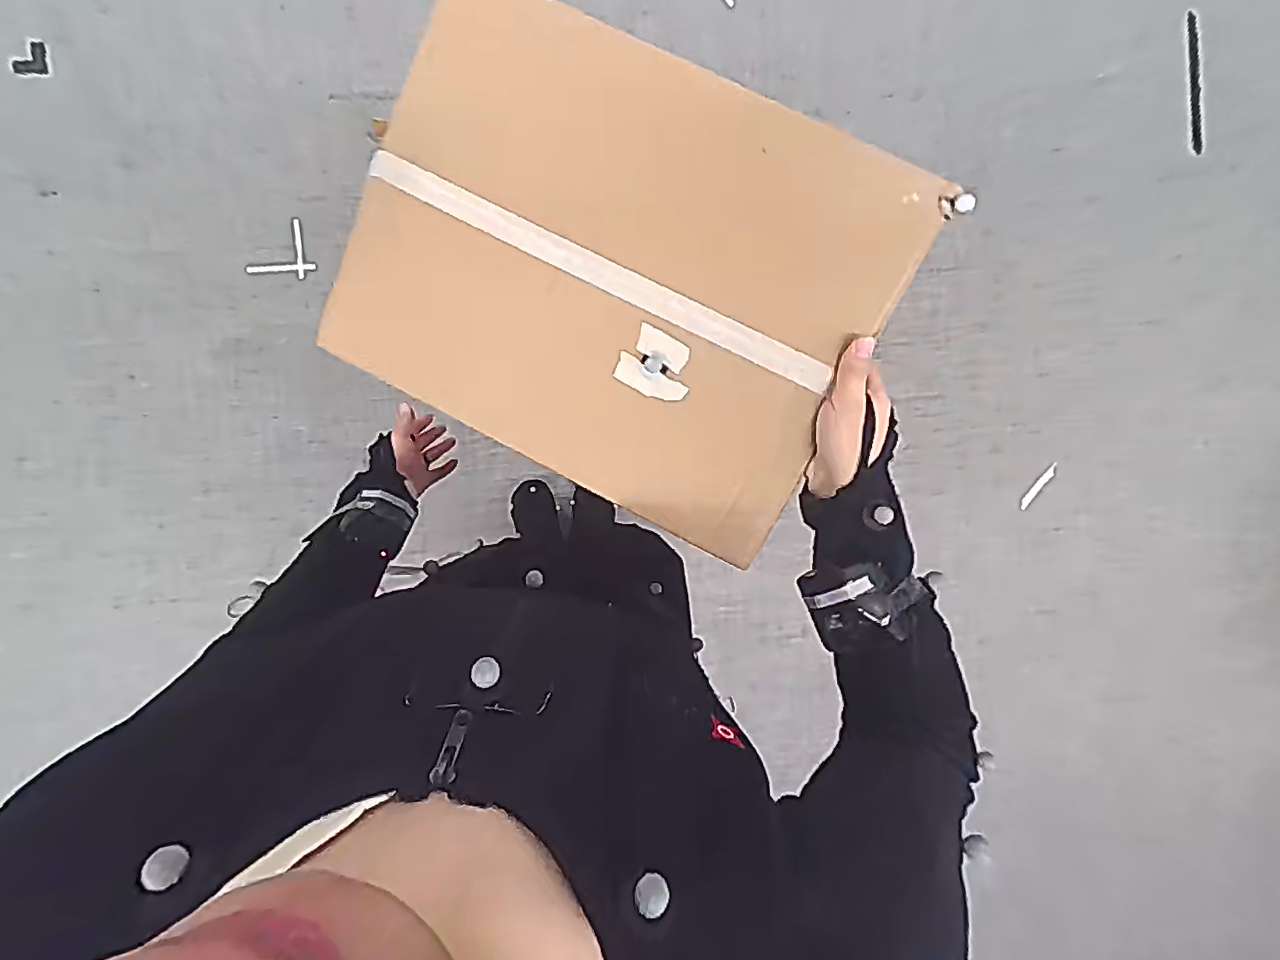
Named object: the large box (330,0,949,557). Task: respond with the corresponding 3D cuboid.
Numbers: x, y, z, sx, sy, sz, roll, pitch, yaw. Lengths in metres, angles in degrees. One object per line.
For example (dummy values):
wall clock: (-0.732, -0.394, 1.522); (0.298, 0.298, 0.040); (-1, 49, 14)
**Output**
large box: (-0.005, -0.174, 0.562); (0.408, 0.320, 0.320); (26, 101, 2)
